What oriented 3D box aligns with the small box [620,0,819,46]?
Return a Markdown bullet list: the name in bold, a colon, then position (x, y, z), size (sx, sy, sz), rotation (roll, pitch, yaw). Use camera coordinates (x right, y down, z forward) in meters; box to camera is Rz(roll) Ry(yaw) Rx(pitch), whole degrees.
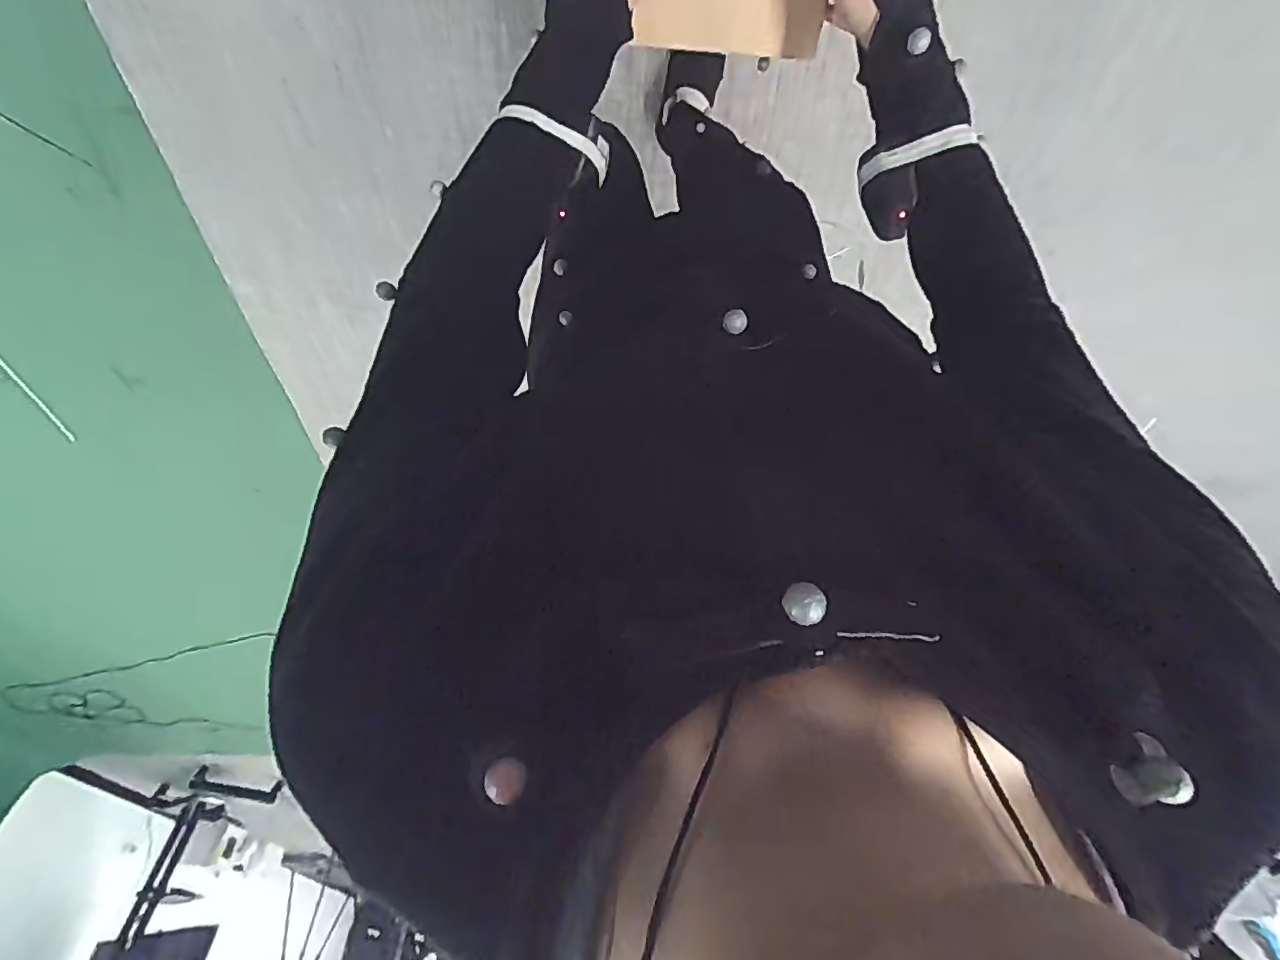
- **small box**: position (0.072, -0.515, 0.490), size (0.179, 0.176, 0.168), rotation (1, 136, -3)
